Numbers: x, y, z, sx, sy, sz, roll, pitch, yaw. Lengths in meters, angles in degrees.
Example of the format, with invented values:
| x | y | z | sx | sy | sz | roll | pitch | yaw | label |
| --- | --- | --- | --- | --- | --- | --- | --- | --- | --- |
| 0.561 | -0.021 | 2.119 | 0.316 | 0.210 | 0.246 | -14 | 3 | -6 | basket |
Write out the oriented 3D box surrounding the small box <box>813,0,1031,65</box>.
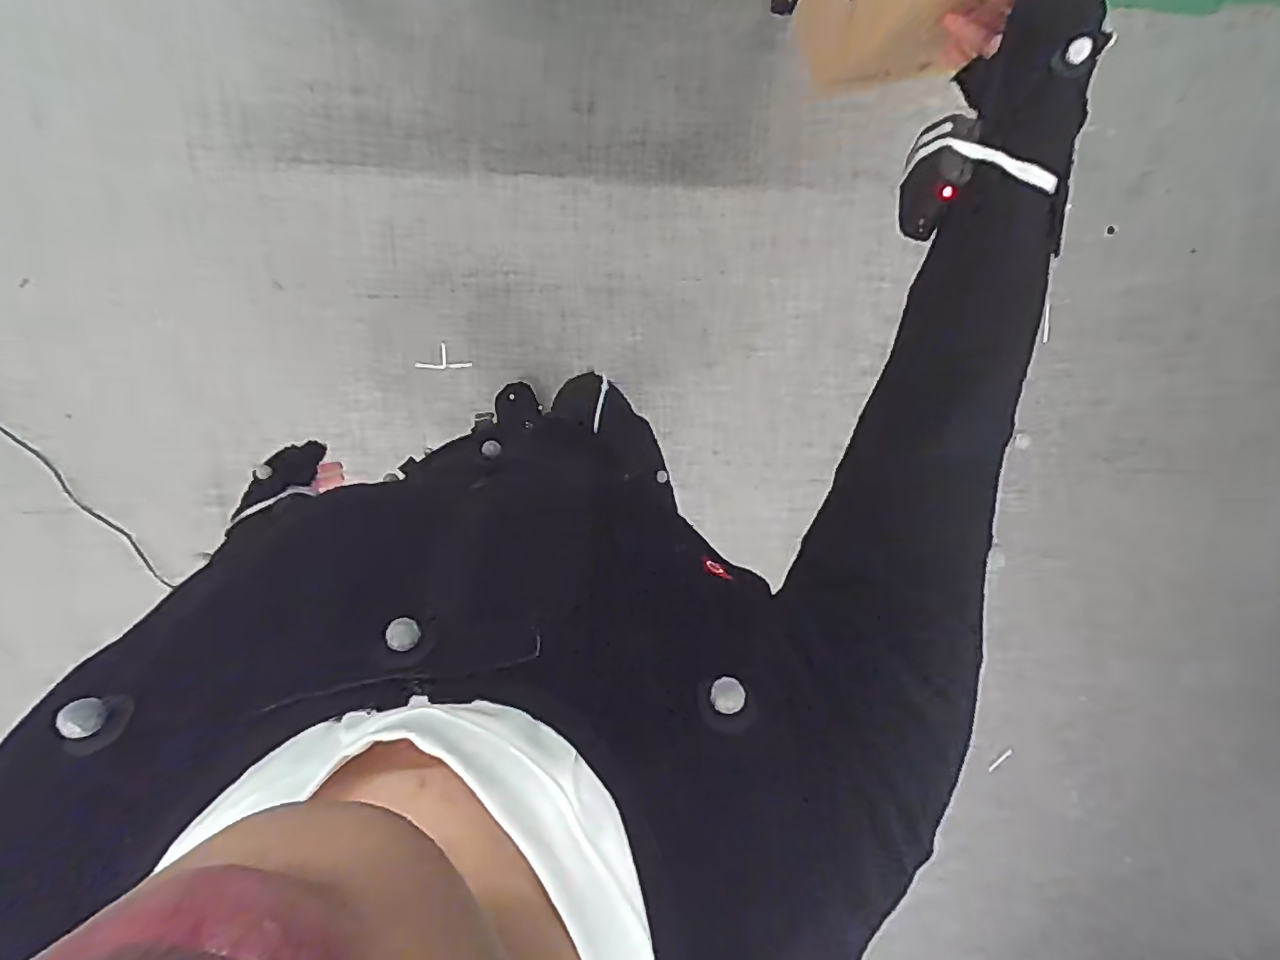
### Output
| x | y | z | sx | sy | sz | roll | pitch | yaw | label |
| --- | --- | --- | --- | --- | --- | --- | --- | --- | --- |
| 0.247 | -0.470 | 0.430 | 0.168 | 0.176 | 0.179 | -15 | 102 | -7 | small box |
